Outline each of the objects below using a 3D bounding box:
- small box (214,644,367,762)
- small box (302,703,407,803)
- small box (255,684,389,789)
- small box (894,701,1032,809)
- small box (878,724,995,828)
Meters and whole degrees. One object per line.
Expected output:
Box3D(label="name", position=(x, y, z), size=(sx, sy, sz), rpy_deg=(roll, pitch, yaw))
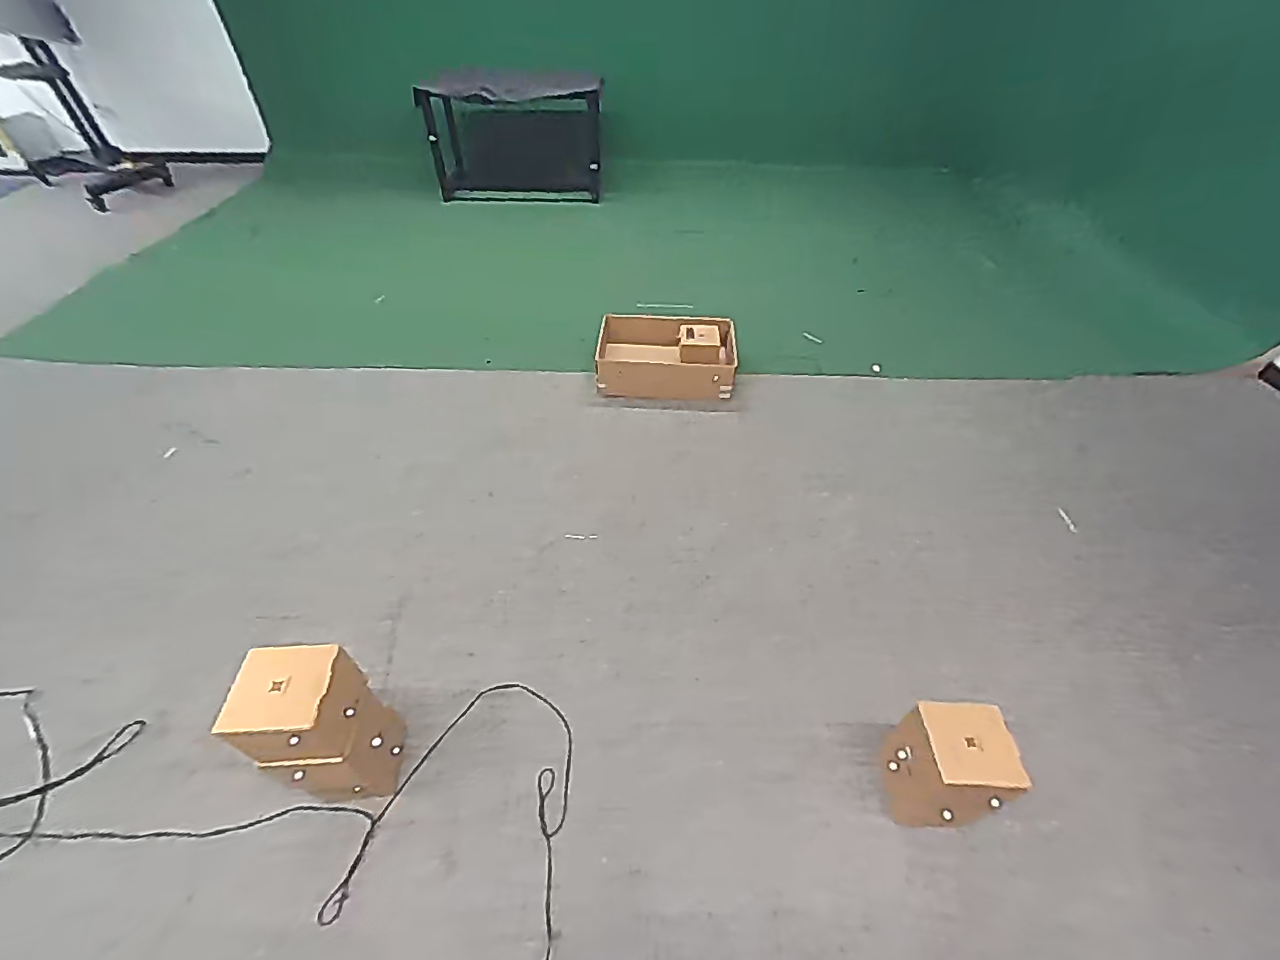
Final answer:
Box3D(label="small box", position=(-0.678, 0.446, 1.075), size=(0.179, 0.176, 0.168), rpy_deg=(-2, 46, -4))
Box3D(label="small box", position=(-0.689, 0.666, 1.317), size=(0.179, 0.176, 0.168), rpy_deg=(-5, 45, -5))
Box3D(label="small box", position=(-0.684, 0.564, 1.187), size=(0.179, 0.176, 0.168), rpy_deg=(-1, 46, -3))
Box3D(label="small box", position=(0.684, 0.596, 1.170), size=(0.179, 0.176, 0.168), rpy_deg=(1, 44, 2))
Box3D(label="small box", position=(0.693, 0.706, 1.290), size=(0.168, 0.176, 0.179), rpy_deg=(1, 45, 1))
